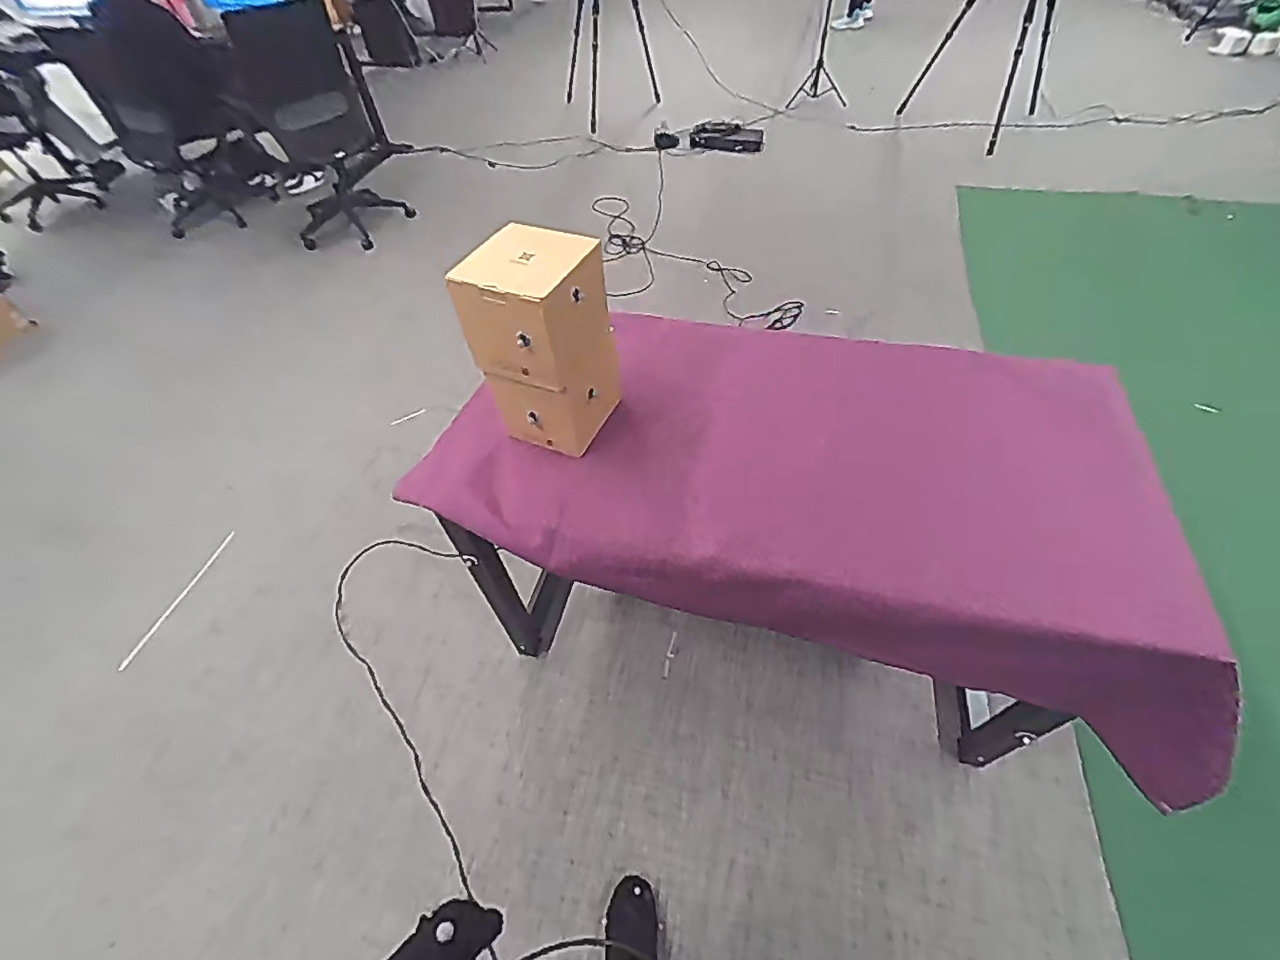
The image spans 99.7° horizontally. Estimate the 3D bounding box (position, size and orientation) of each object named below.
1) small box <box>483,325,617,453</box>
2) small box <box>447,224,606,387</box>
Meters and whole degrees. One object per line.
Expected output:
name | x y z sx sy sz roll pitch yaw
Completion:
small box | -0.150 -0.177 0.985 0.168 0.176 0.179 18 55 17
small box | -0.163 -0.273 0.852 0.168 0.176 0.179 19 54 17
